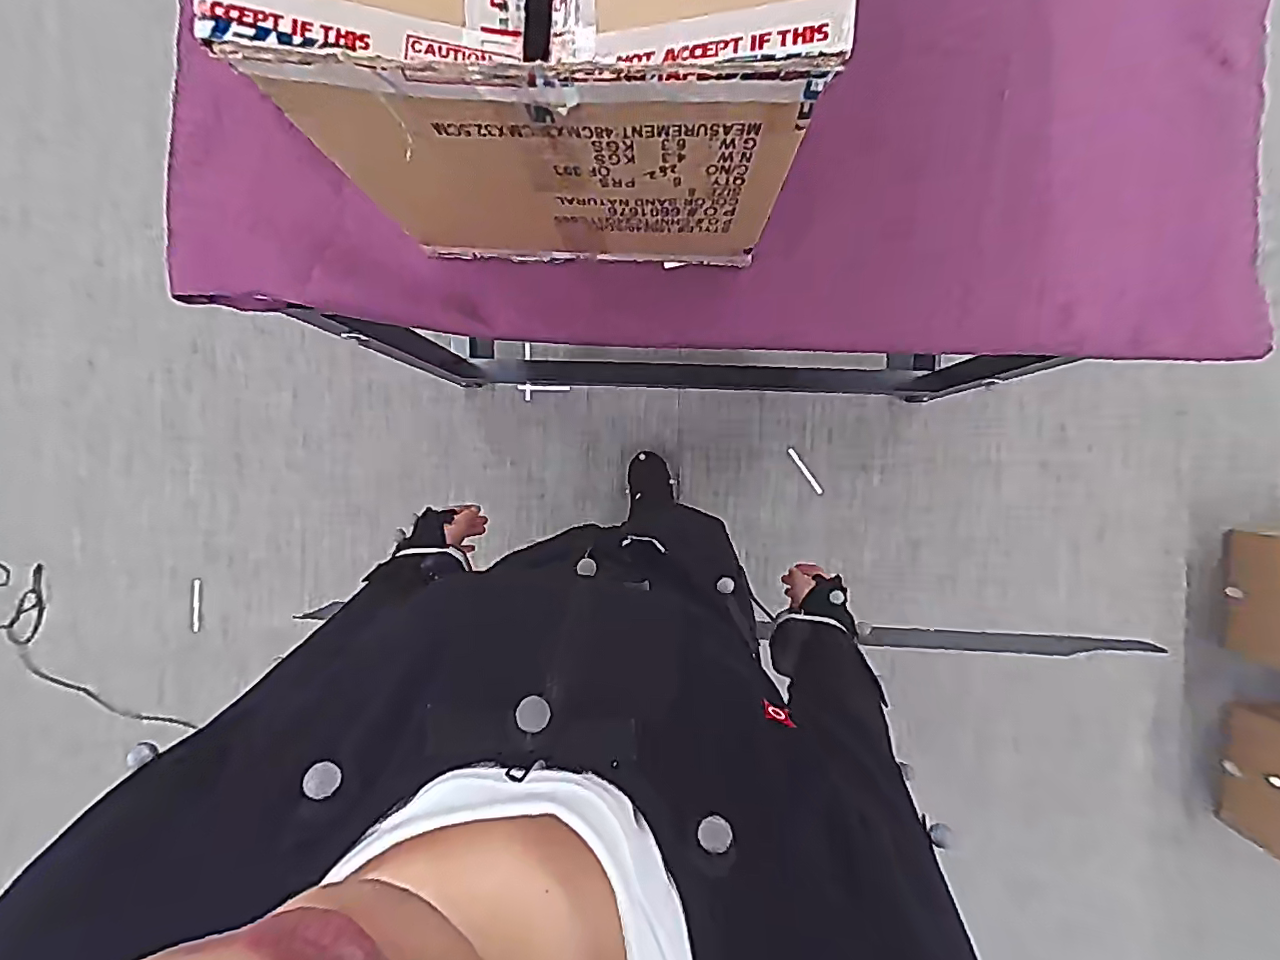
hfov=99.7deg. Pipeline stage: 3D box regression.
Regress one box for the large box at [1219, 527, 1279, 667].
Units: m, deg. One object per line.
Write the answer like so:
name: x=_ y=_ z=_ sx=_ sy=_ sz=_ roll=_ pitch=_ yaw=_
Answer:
large box: x=1.636 y=0.273 z=1.184 sx=0.408 sy=0.320 sz=0.320 roll=1 pitch=91 yaw=3
